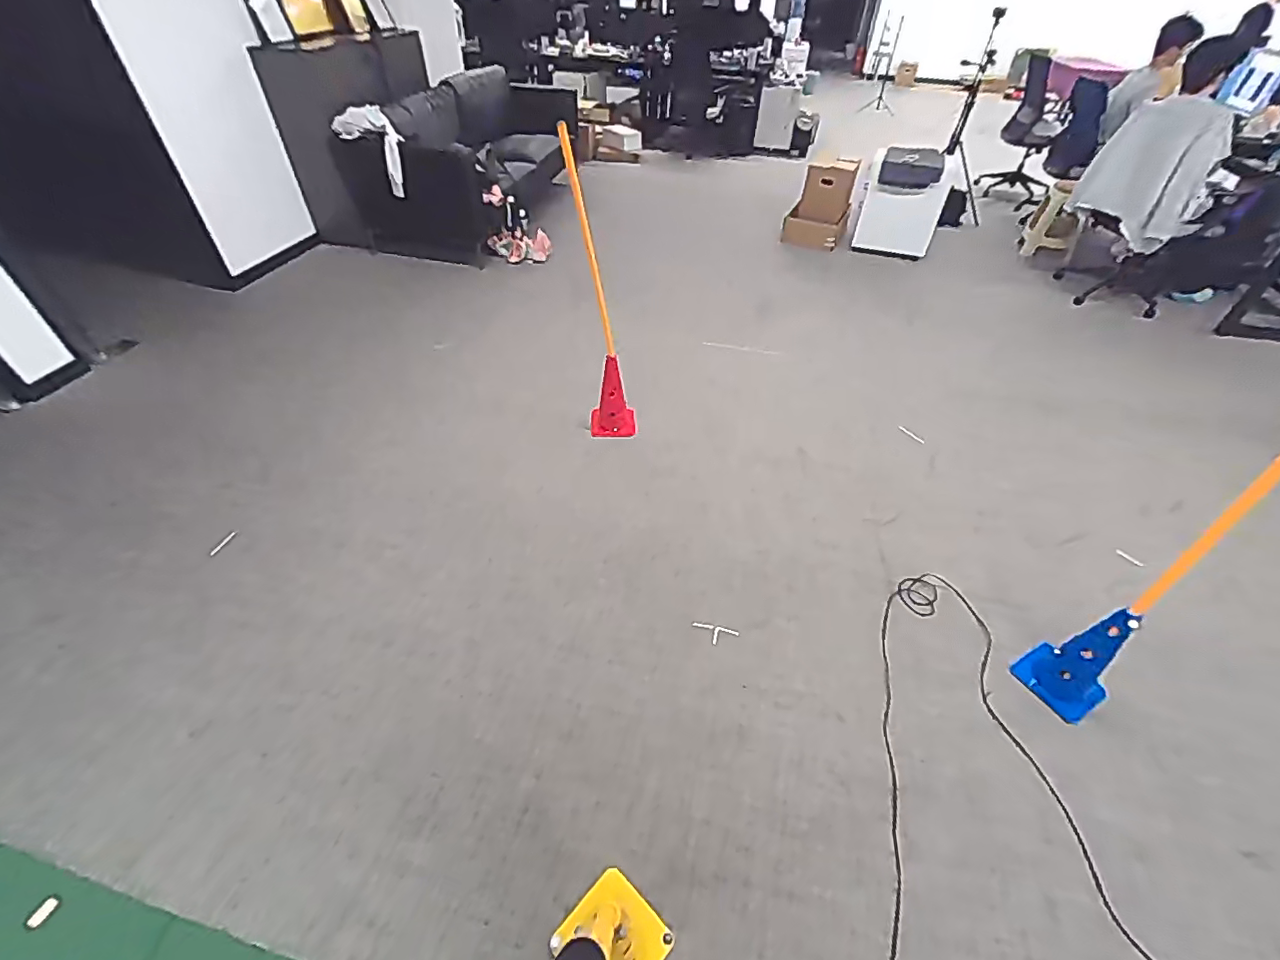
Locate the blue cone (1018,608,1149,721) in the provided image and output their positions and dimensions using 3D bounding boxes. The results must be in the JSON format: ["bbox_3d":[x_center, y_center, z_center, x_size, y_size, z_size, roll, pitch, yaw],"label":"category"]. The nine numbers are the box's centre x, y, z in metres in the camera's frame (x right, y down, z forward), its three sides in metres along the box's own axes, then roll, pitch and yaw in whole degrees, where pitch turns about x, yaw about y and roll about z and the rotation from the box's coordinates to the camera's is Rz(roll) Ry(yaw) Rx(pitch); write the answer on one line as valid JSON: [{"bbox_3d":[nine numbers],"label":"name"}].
[{"bbox_3d":[1.250,0.473,1.492,0.193,0.380,0.192,-20,47,-25],"label":"blue cone"}]
